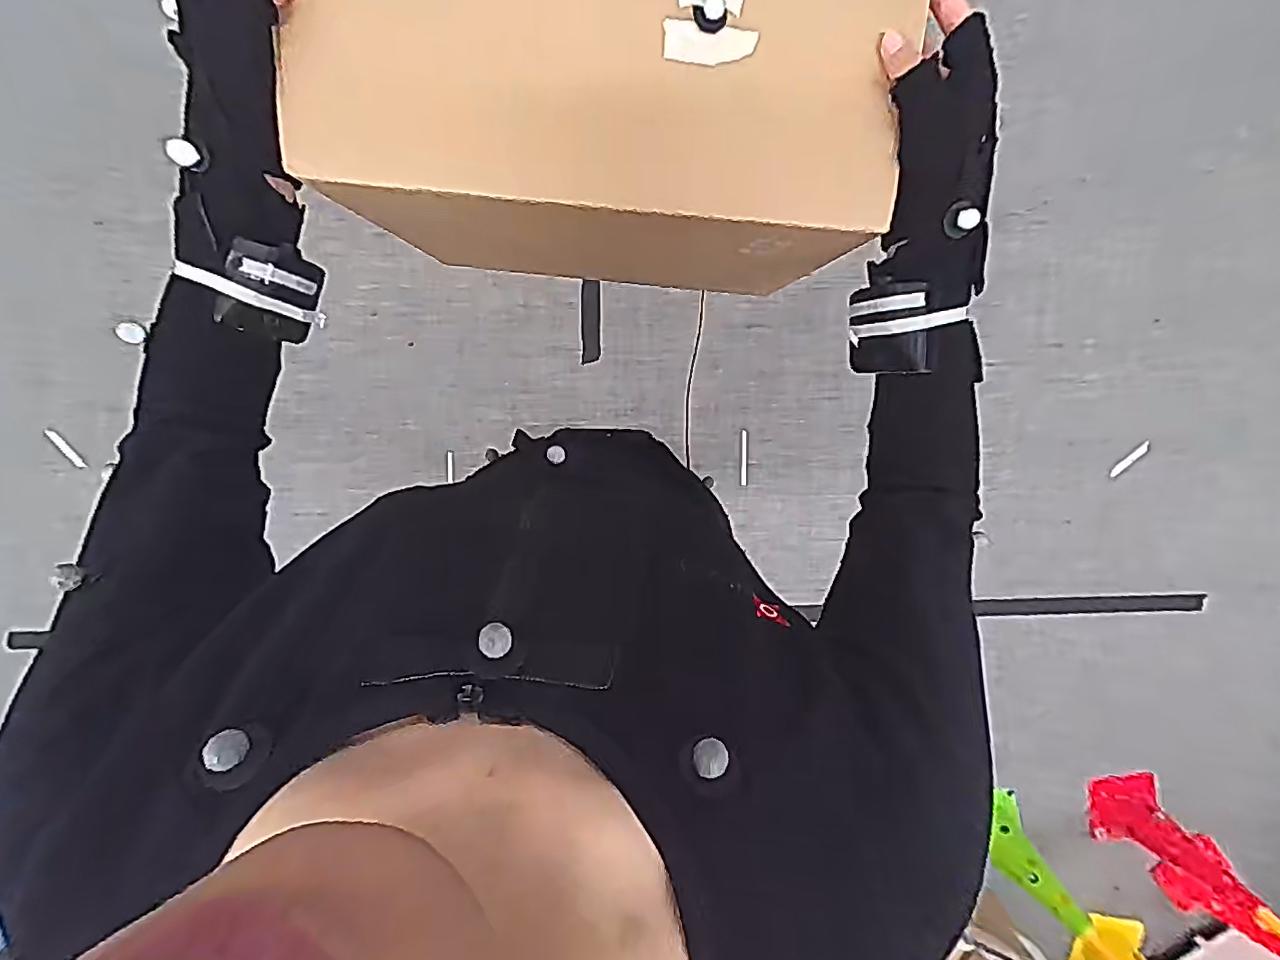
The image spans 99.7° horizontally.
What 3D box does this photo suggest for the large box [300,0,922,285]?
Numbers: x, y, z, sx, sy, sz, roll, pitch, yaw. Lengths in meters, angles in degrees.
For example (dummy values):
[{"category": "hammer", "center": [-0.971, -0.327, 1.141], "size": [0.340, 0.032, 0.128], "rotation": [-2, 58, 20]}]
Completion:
[{"category": "large box", "center": [-0.019, -0.371, 0.484], "size": [0.408, 0.320, 0.320], "rotation": [4, 102, -3]}]
